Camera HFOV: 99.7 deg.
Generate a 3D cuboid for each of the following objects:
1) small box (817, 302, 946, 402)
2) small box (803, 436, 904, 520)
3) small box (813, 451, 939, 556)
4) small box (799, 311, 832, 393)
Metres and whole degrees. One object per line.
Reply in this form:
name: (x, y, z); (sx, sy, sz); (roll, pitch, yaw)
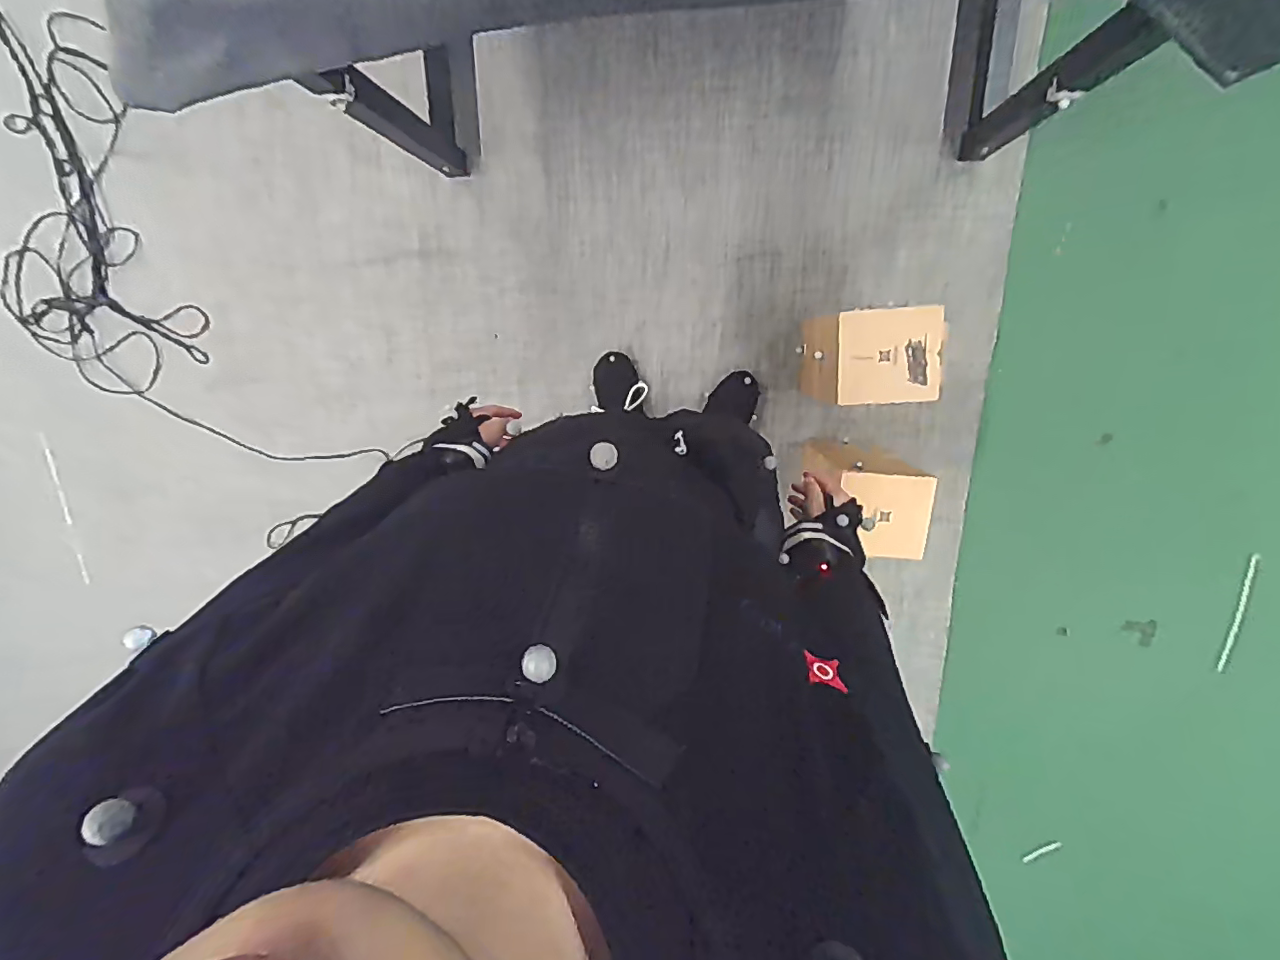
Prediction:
small box: (0.442, -0.241, 1.014); (0.179, 0.176, 0.168); (-2, 104, 8)
small box: (0.479, -0.004, 1.243); (0.179, 0.176, 0.168); (3, 106, 7)
small box: (0.463, 0.041, 1.087); (0.179, 0.176, 0.168); (4, 106, 5)
small box: (0.452, -0.282, 1.172); (0.179, 0.176, 0.168); (-1, 104, 7)
